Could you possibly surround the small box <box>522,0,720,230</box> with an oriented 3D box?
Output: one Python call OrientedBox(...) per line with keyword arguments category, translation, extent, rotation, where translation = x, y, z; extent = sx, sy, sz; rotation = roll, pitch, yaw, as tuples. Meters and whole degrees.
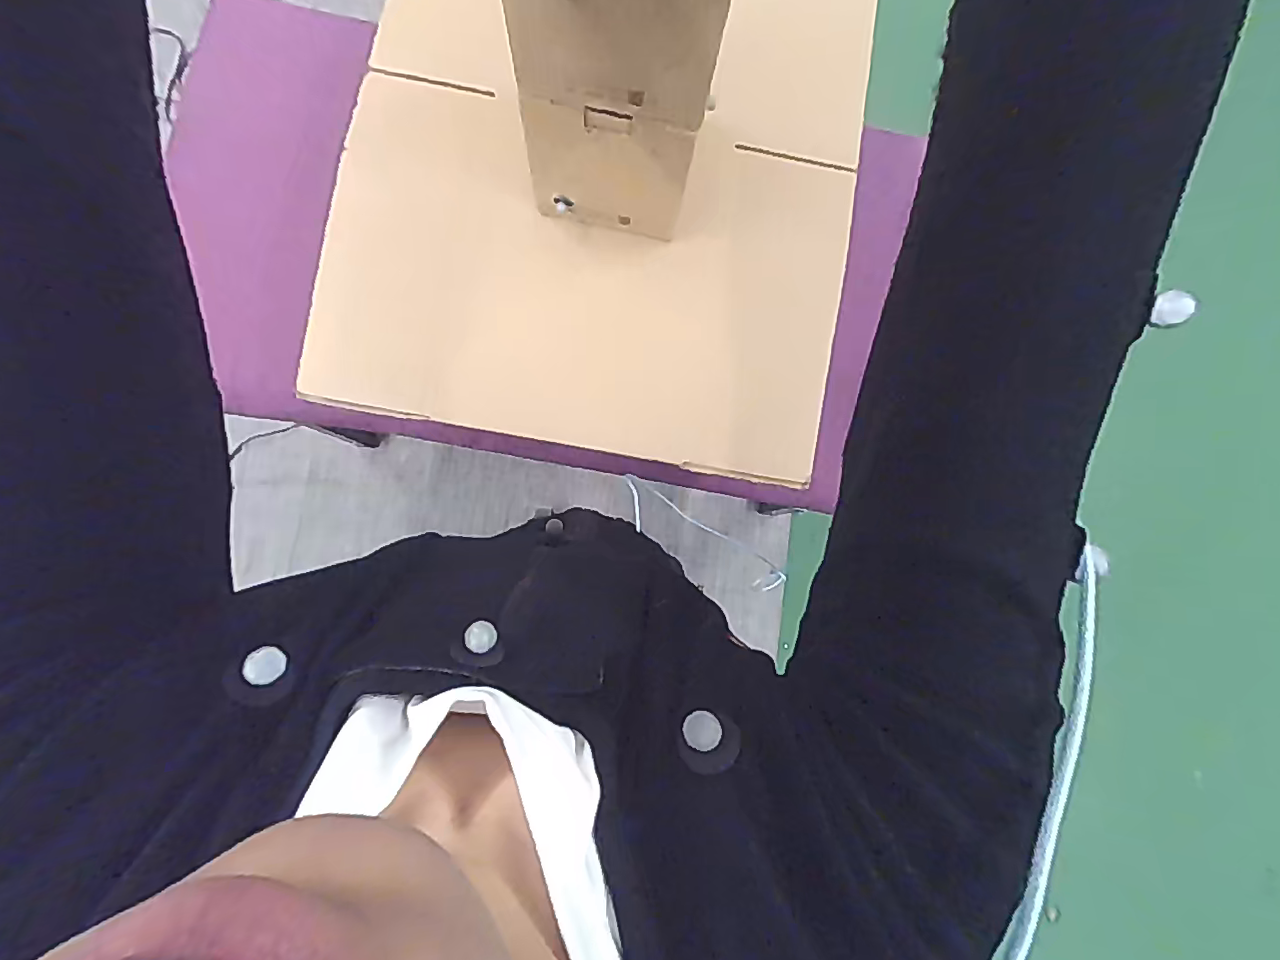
OrientedBox(category="small box", translation=(-0.018, -0.394, 0.567), extent=(0.168, 0.176, 0.179), rotation=(8, 83, -4))
